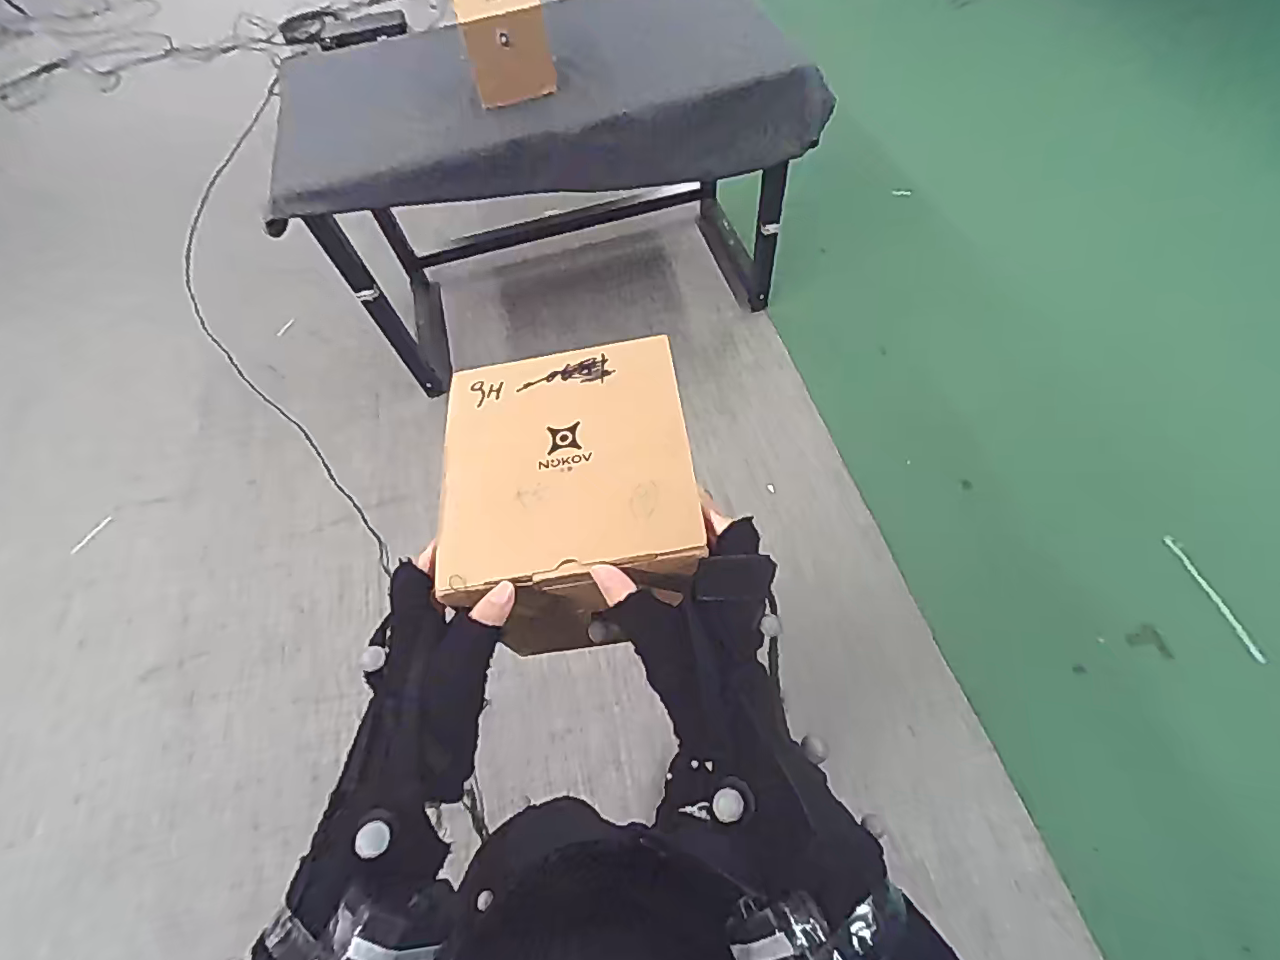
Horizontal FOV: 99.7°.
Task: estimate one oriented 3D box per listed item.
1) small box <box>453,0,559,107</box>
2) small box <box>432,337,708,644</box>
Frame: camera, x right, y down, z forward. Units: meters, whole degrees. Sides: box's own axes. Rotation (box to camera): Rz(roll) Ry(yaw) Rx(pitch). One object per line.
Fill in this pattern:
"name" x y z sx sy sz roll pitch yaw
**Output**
"small box" -0.293 -0.963 1.196 0.179 0.176 0.168 -16 62 -4
"small box" -0.042 0.022 0.423 0.168 0.176 0.179 -9 60 3
